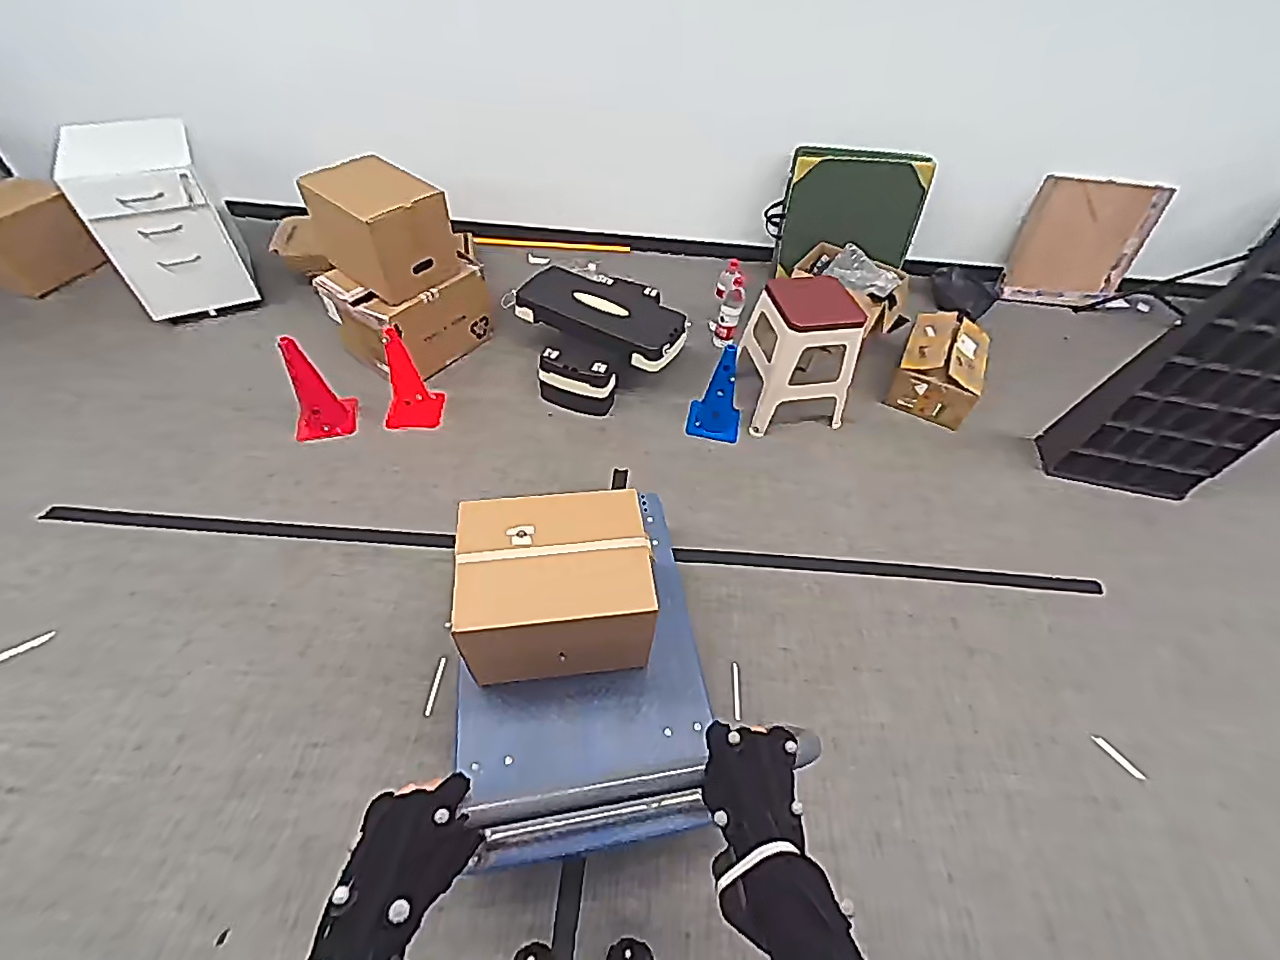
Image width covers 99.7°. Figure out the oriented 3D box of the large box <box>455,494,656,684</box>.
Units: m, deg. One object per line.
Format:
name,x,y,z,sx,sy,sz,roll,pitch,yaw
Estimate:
large box,-0.191,0.260,1.275,0.408,0.320,0.320,-4,51,-7
